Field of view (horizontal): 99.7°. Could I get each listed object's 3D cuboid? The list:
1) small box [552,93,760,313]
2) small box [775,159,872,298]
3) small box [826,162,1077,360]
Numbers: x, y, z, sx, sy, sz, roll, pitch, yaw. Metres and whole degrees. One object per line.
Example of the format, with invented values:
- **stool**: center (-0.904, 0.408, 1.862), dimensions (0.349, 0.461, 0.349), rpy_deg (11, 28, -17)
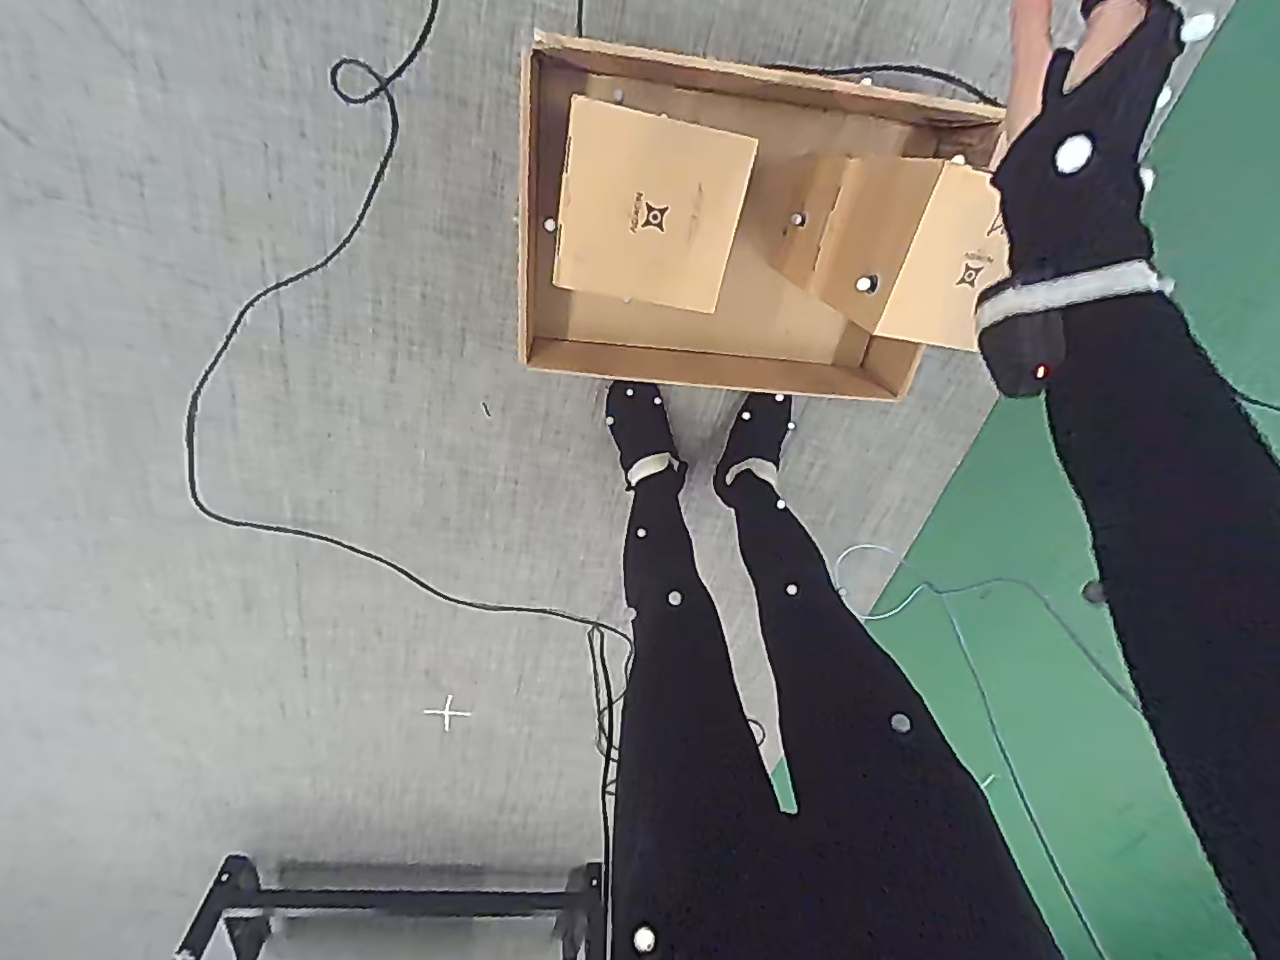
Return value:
- **small box**: center (0.004, -0.301, 0.594), dimensions (0.179, 0.176, 0.168), rpy_deg (7, 122, -11)
- **small box**: center (0.318, -0.354, 0.788), dimensions (0.179, 0.176, 0.168), rpy_deg (8, 120, -10)
- **small box**: center (0.348, -0.266, 0.651), dimensions (0.168, 0.176, 0.179), rpy_deg (7, 119, -11)
